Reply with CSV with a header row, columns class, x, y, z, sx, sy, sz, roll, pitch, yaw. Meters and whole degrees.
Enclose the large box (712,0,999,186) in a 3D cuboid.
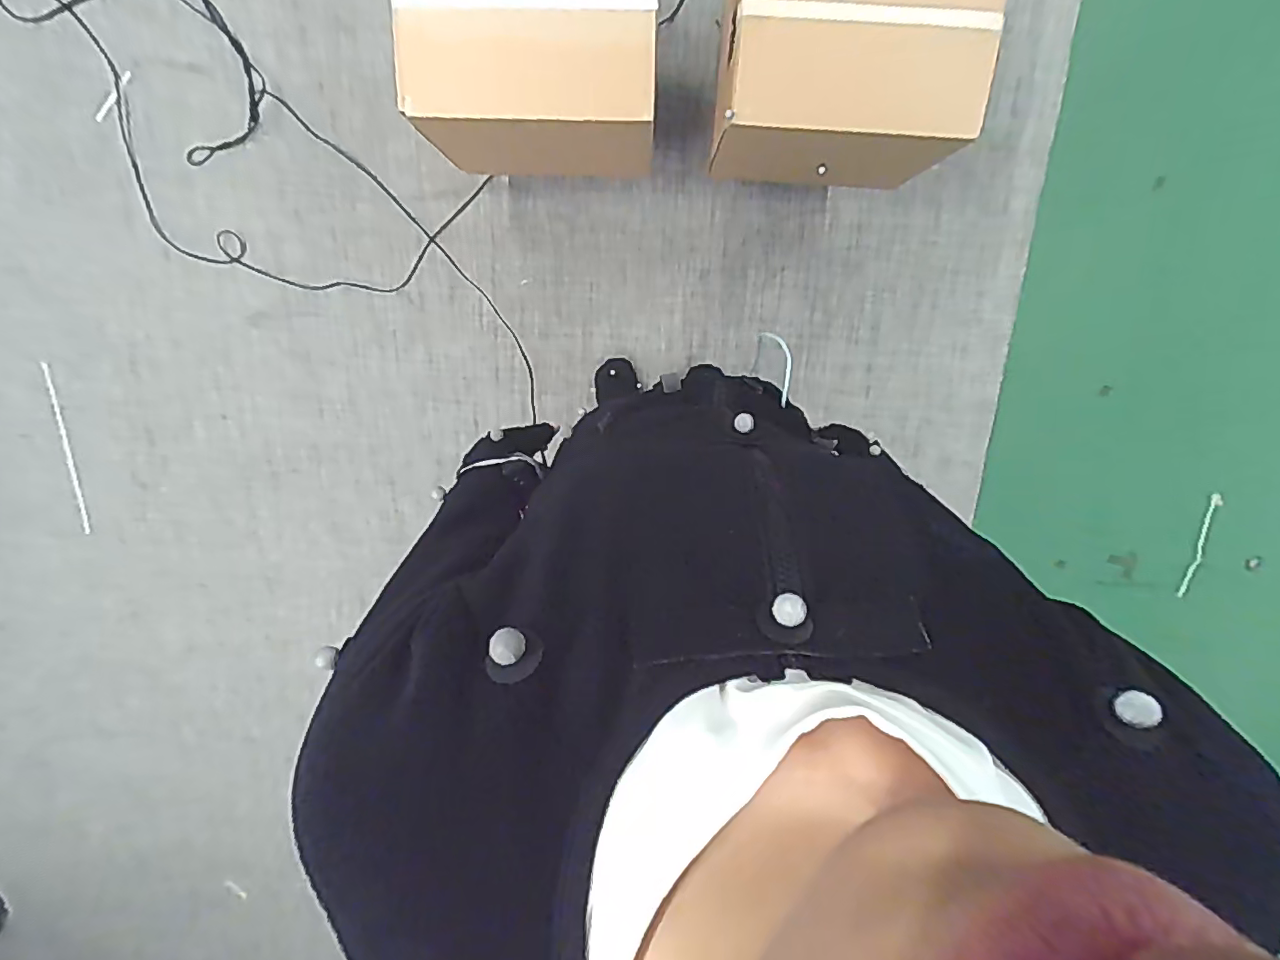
class,x,y,z,sx,sy,sz,roll,pitch,yaw
large box,0.360,-0.751,0.993,0.408,0.320,0.320,4,104,0
